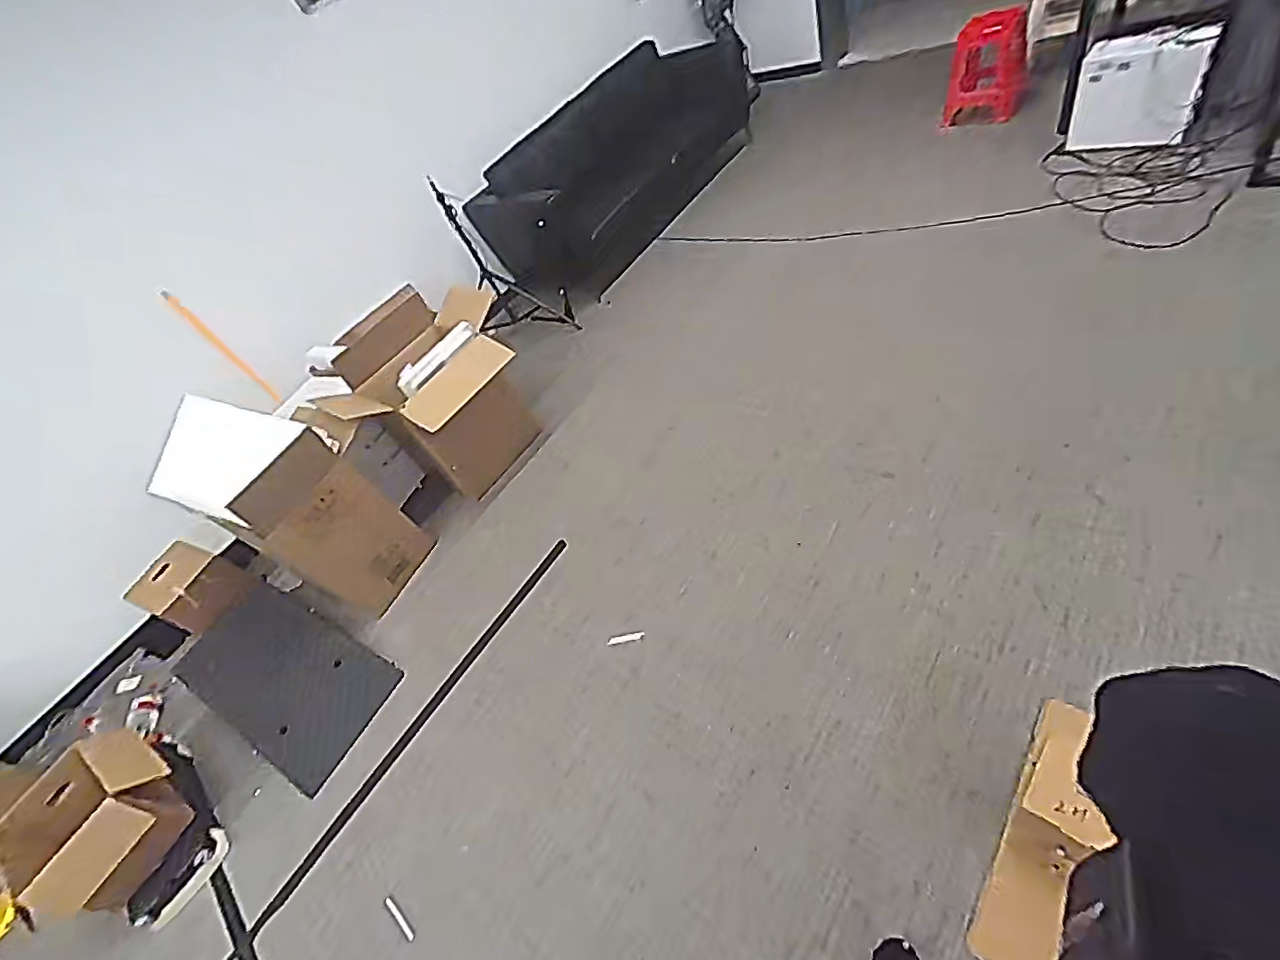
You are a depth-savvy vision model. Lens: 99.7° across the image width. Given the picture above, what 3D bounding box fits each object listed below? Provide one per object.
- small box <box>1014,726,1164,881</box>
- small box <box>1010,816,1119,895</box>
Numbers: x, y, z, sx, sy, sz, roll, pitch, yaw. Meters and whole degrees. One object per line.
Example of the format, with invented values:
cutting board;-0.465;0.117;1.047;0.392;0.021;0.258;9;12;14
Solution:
small box;0.835;0.610;1.021;0.168;0.176;0.179;23;64;40
small box;0.896;0.723;1.128;0.168;0.176;0.179;22;64;39
